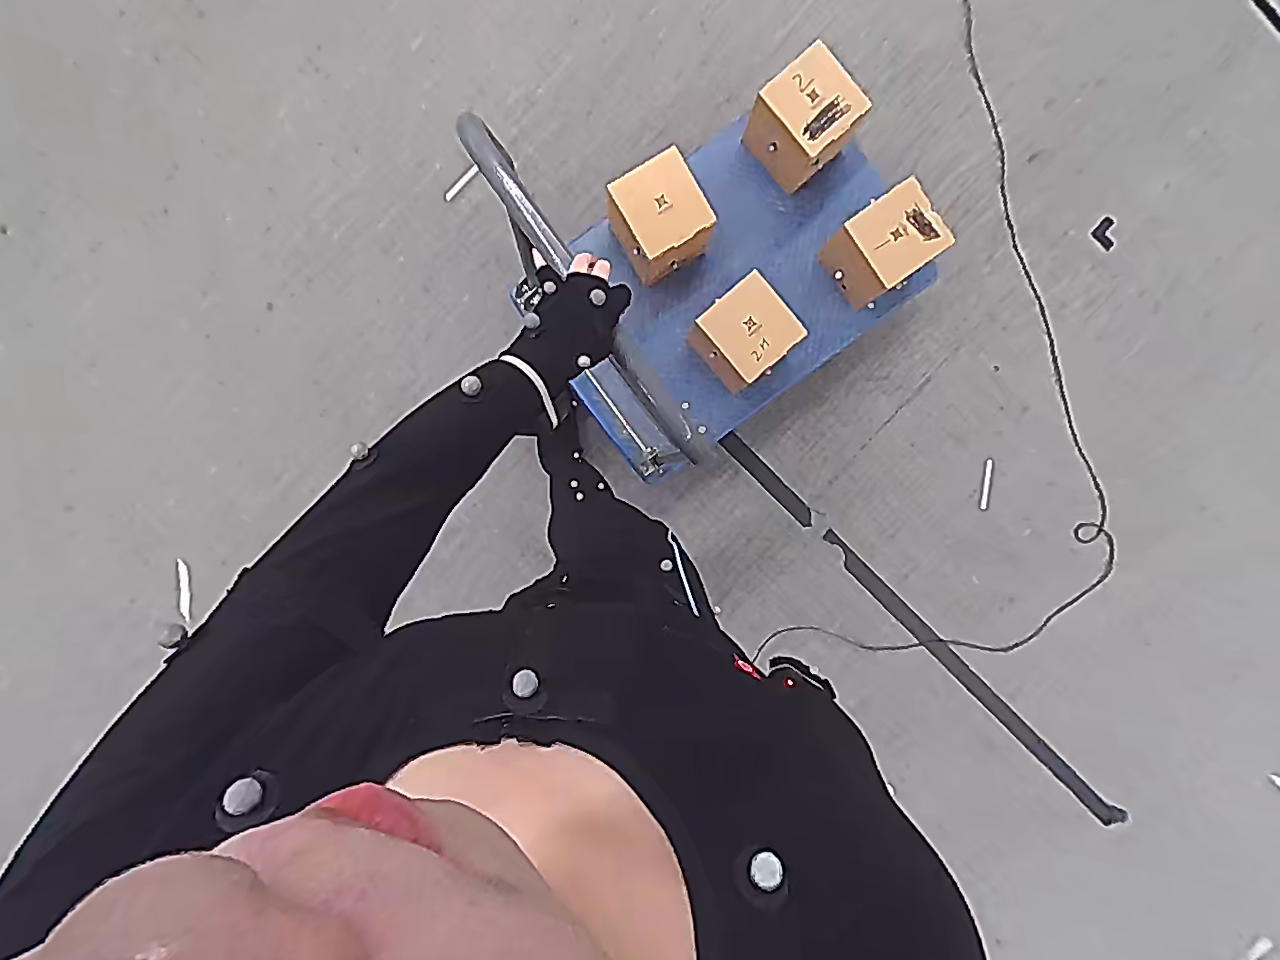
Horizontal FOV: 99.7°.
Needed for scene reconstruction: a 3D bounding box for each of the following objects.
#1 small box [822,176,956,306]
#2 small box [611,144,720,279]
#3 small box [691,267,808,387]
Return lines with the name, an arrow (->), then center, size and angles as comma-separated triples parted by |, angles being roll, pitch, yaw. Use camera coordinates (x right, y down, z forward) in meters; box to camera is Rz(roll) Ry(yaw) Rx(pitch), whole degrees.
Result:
small box -> 0.537, -0.515, 1.190 | 0.179, 0.176, 0.168 | -35, 93, 1
small box -> 0.047, -0.571, 1.175 | 0.168, 0.176, 0.179 | -31, 95, -1
small box -> 0.230, -0.324, 1.191 | 0.168, 0.176, 0.179 | -40, 93, 1
